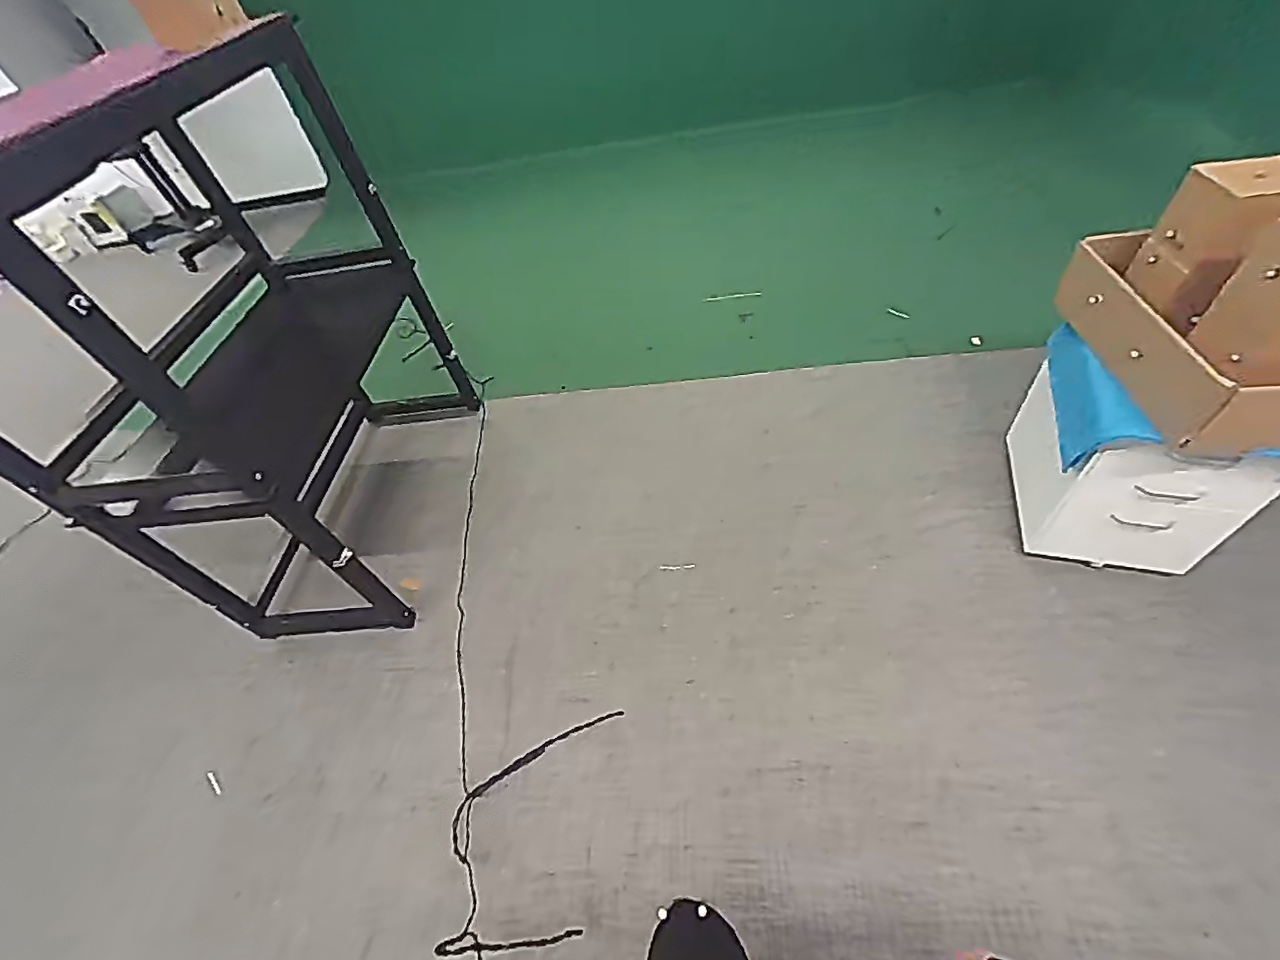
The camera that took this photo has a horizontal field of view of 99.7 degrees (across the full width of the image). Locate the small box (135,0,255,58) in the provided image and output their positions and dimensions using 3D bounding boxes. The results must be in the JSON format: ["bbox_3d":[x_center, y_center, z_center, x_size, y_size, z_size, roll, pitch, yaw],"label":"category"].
[{"bbox_3d":[-1.158,-1.219,1.396,0.179,0.176,0.168,-4,50,7],"label":"small box"}]

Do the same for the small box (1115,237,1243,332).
[{"bbox_3d":[1.334,-0.479,1.319,0.179,0.176,0.168,-2,50,7],"label":"small box"}]

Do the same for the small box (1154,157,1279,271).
[{"bbox_3d":[1.319,-0.584,1.196,0.179,0.176,0.168,-3,50,8],"label":"small box"}]

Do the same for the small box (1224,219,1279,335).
[{"bbox_3d":[1.300,-0.383,1.024,0.168,0.176,0.179,-3,48,7],"label":"small box"}]
